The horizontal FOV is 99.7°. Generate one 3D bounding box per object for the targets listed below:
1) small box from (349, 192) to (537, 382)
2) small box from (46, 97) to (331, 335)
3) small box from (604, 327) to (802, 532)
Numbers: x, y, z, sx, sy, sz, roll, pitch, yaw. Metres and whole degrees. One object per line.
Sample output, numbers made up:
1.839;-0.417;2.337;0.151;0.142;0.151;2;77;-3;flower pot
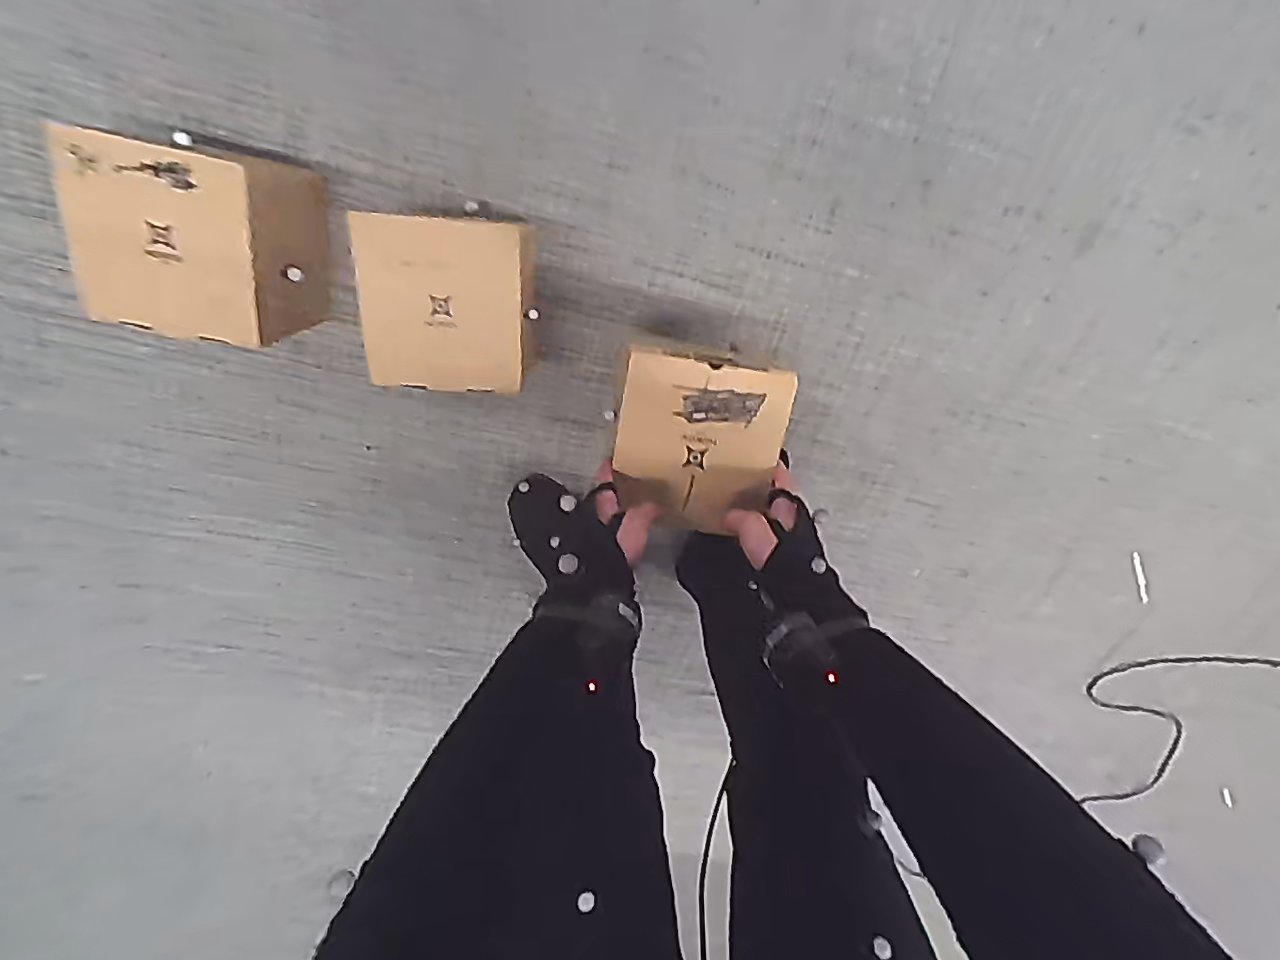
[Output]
-0.210;-0.225;0.629;0.168;0.176;0.179;3;115;-6;small box
-0.458;-0.278;0.586;0.168;0.176;0.179;11;116;-8;small box
0.052;-0.065;0.594;0.168;0.176;0.179;8;109;-6;small box
